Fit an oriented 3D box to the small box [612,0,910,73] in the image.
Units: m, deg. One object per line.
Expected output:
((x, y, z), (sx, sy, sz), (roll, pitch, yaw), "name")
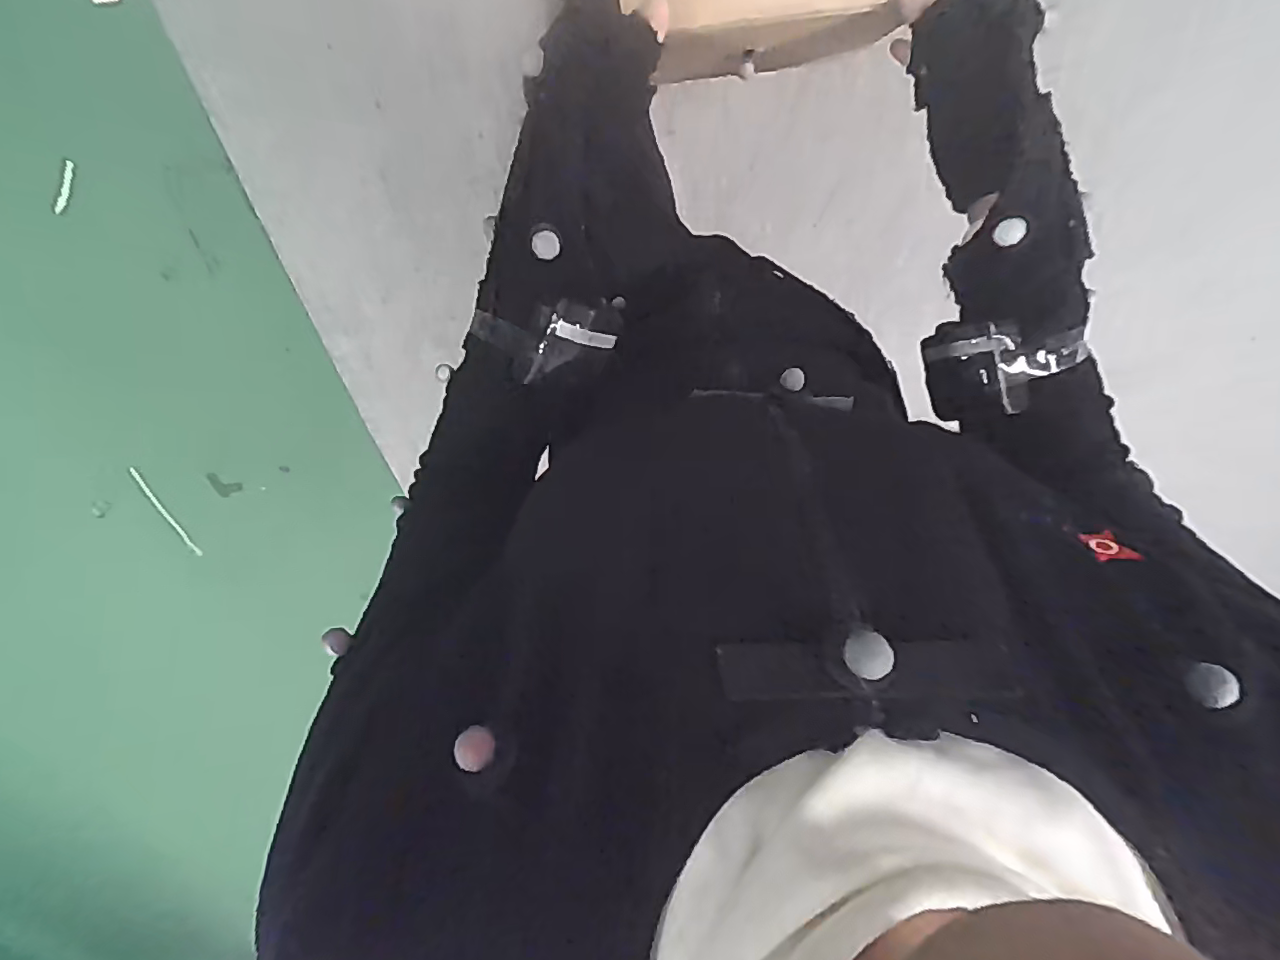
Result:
((0.067, -0.373, 0.334), (0.179, 0.176, 0.168), (-3, 118, 5), "small box")
